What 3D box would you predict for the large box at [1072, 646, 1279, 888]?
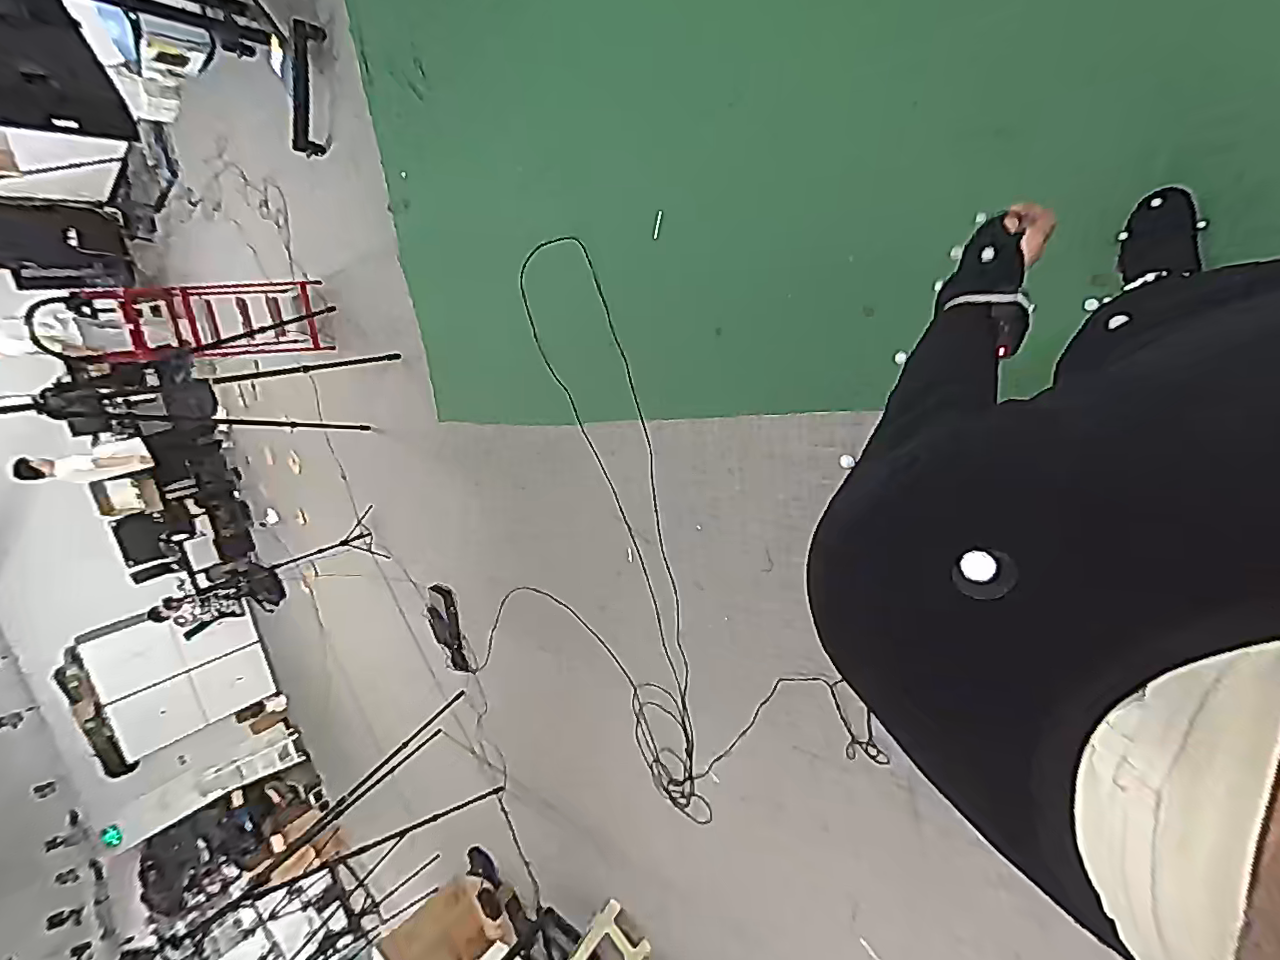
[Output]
[{"bbox_3d":[1.236,0.614,1.213,0.408,0.320,0.320,1,106,41],"label":"large box"}]
